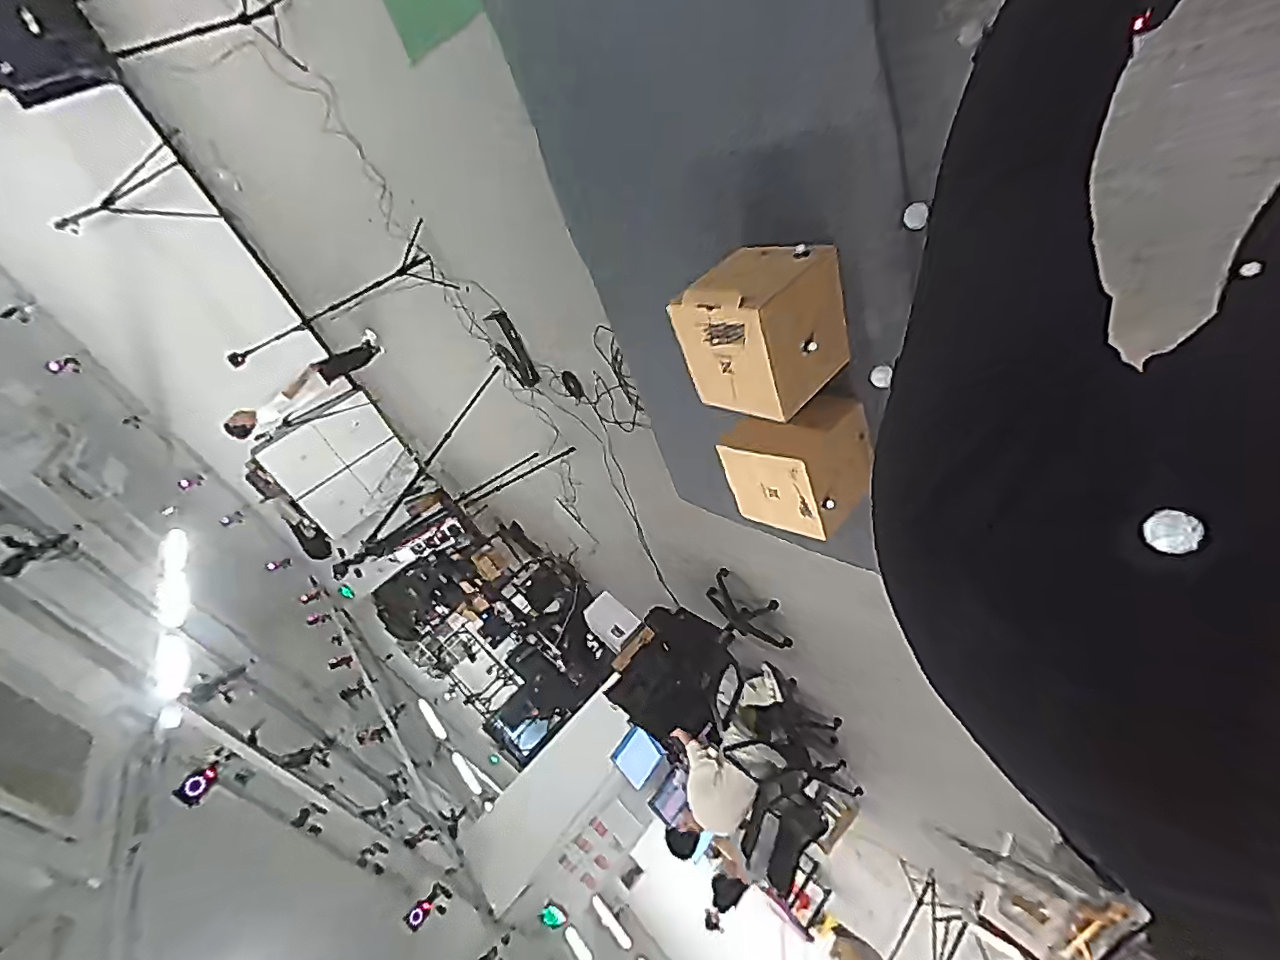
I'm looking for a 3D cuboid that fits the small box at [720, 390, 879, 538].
[{"bbox_3d":[0.271,-0.035,0.910,0.179,0.176,0.168,19,144,49],"label":"small box"}]
